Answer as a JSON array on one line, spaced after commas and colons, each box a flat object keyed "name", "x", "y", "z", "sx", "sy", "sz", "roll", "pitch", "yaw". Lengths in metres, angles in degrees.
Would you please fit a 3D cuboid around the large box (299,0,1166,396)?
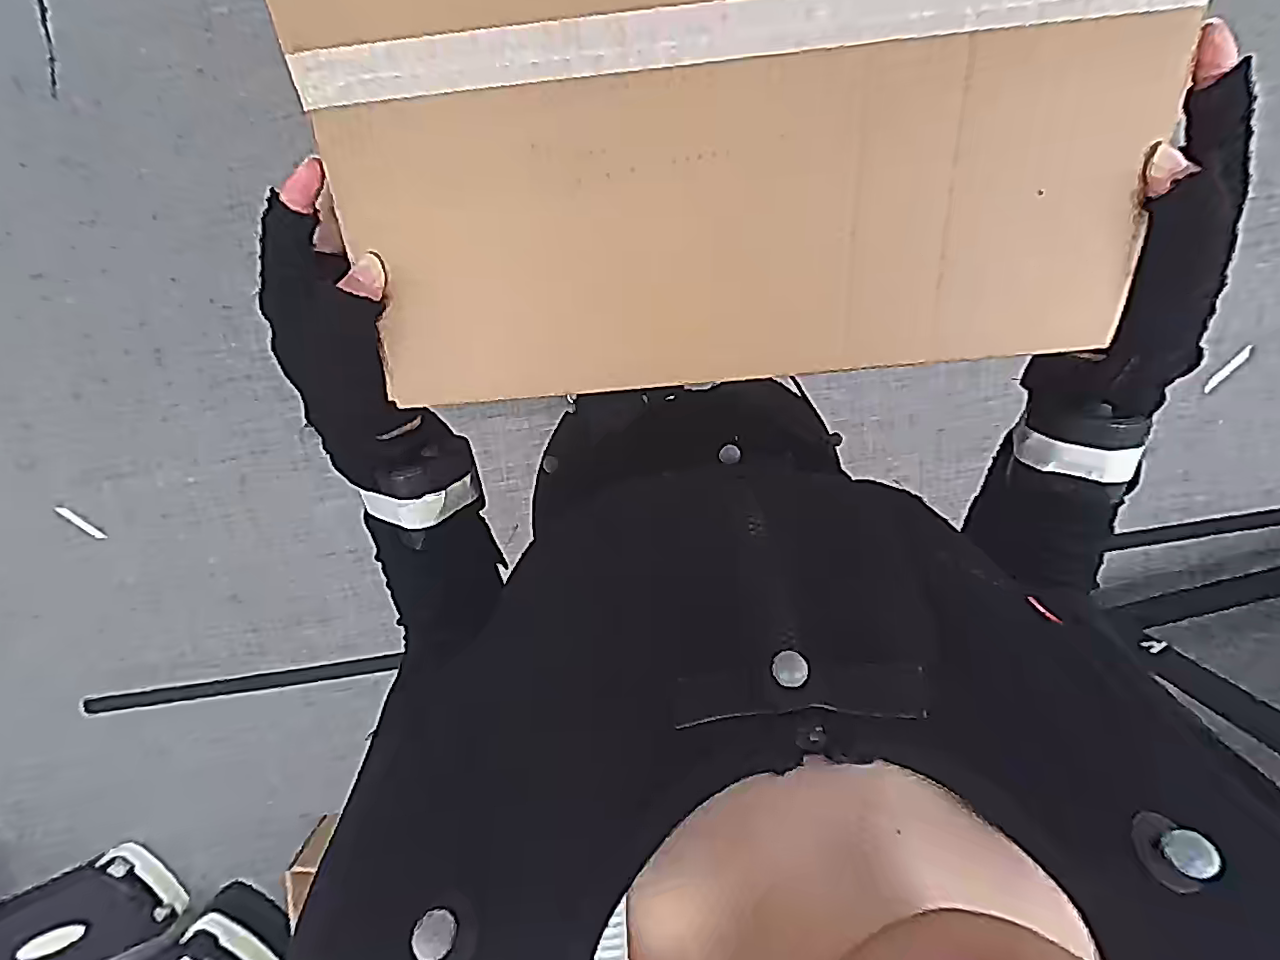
[{"name": "large box", "x": 0.042, "y": -0.267, "z": 0.390, "sx": 0.408, "sy": 0.320, "sz": 0.320, "roll": -5, "pitch": 116, "yaw": 2}]
